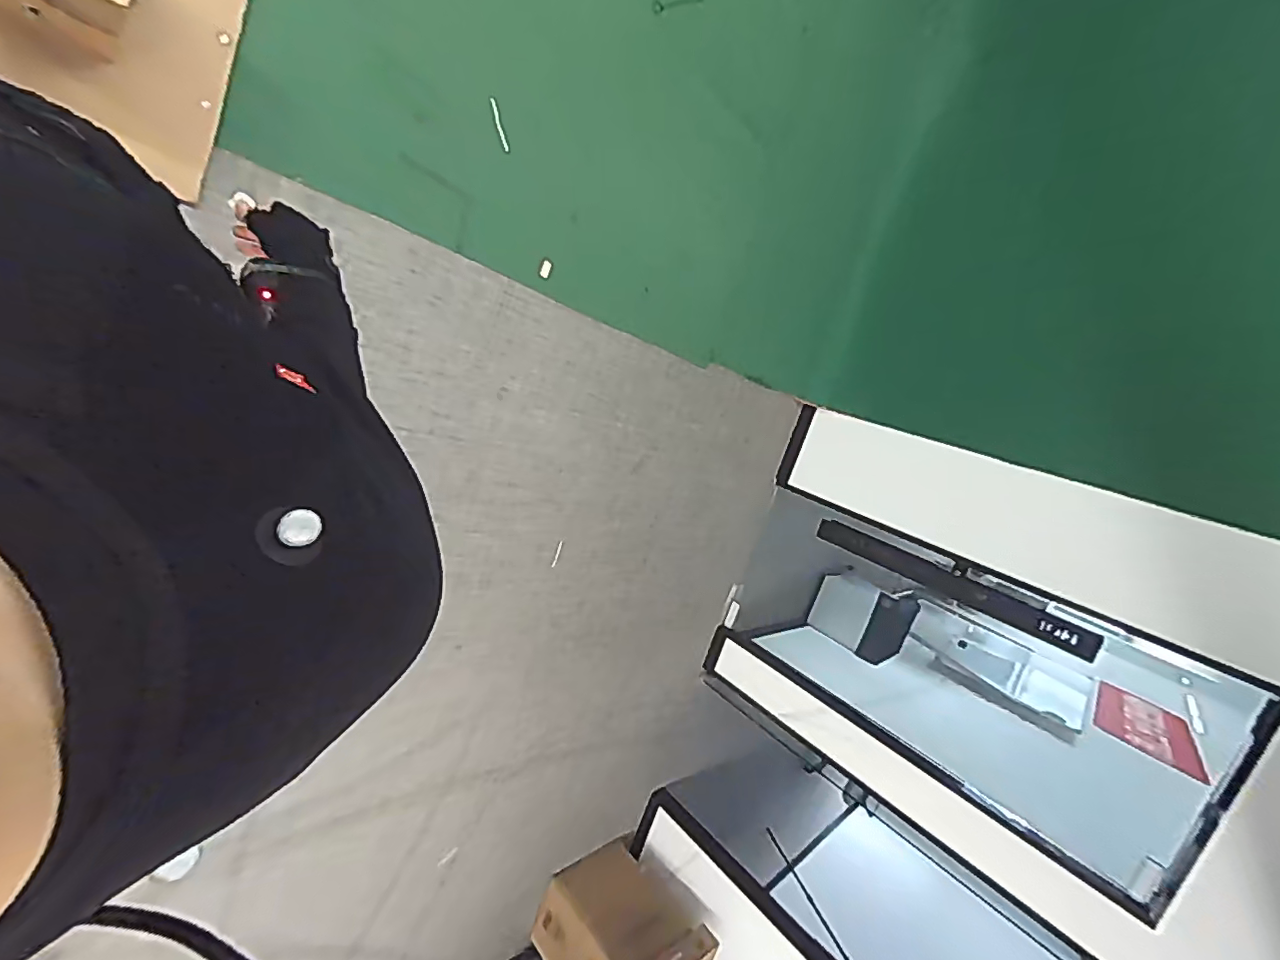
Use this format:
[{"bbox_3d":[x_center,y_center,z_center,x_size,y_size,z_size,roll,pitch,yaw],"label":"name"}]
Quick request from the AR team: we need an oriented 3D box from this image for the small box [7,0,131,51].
[{"bbox_3d":[-0.869,-0.790,0.802,0.168,0.176,0.179,9,104,-48],"label":"small box"}]

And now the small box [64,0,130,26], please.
[{"bbox_3d":[-0.752,-0.743,0.694,0.168,0.176,0.179,13,101,-48],"label":"small box"}]
